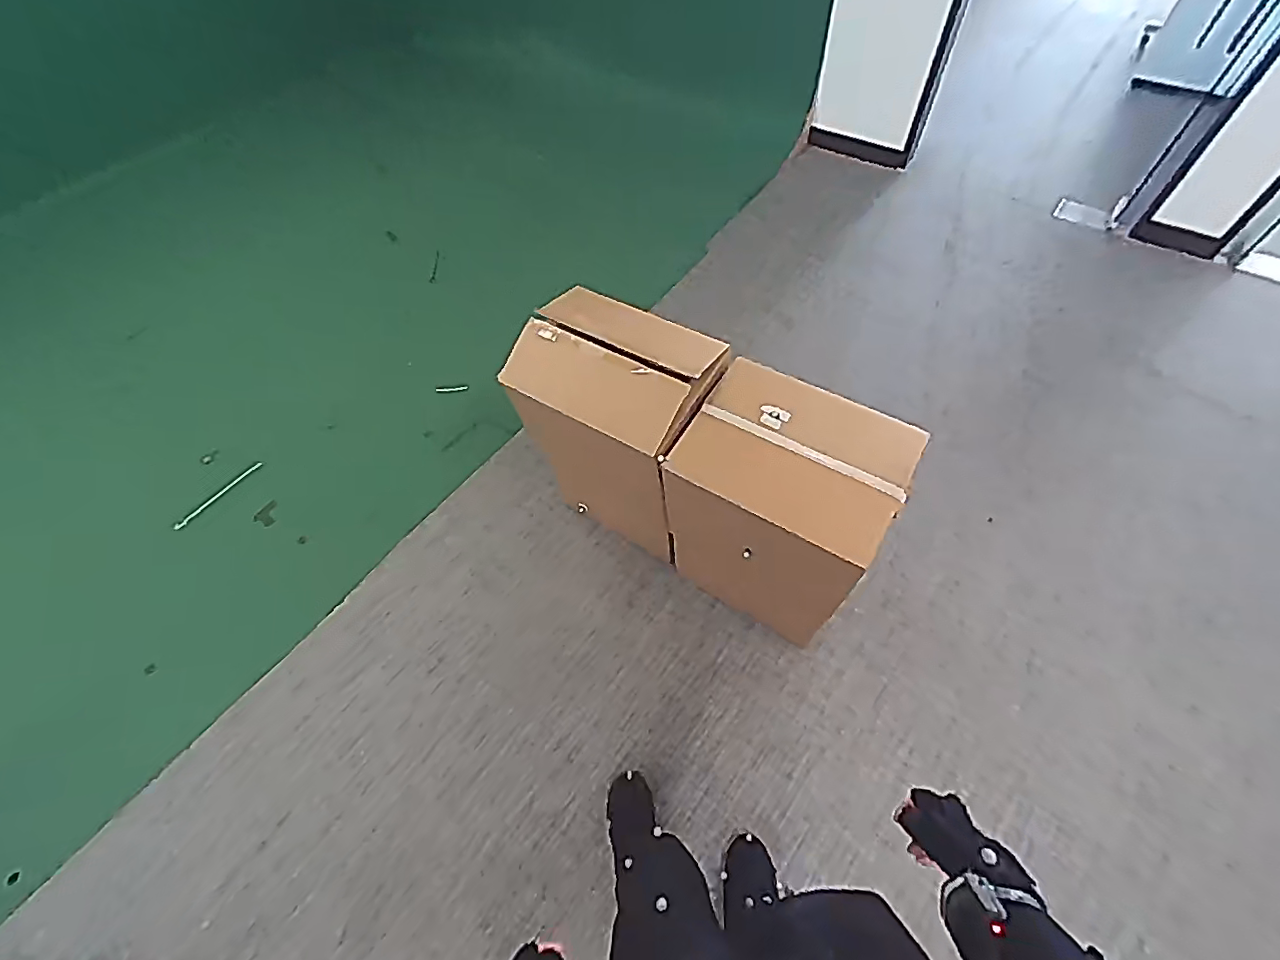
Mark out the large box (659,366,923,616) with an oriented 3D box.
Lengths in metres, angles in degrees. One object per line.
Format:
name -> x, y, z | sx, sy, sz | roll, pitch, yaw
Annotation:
large box -> 0.299, 0.028, 1.140 | 0.408, 0.320, 0.320 | 27, 66, 21
